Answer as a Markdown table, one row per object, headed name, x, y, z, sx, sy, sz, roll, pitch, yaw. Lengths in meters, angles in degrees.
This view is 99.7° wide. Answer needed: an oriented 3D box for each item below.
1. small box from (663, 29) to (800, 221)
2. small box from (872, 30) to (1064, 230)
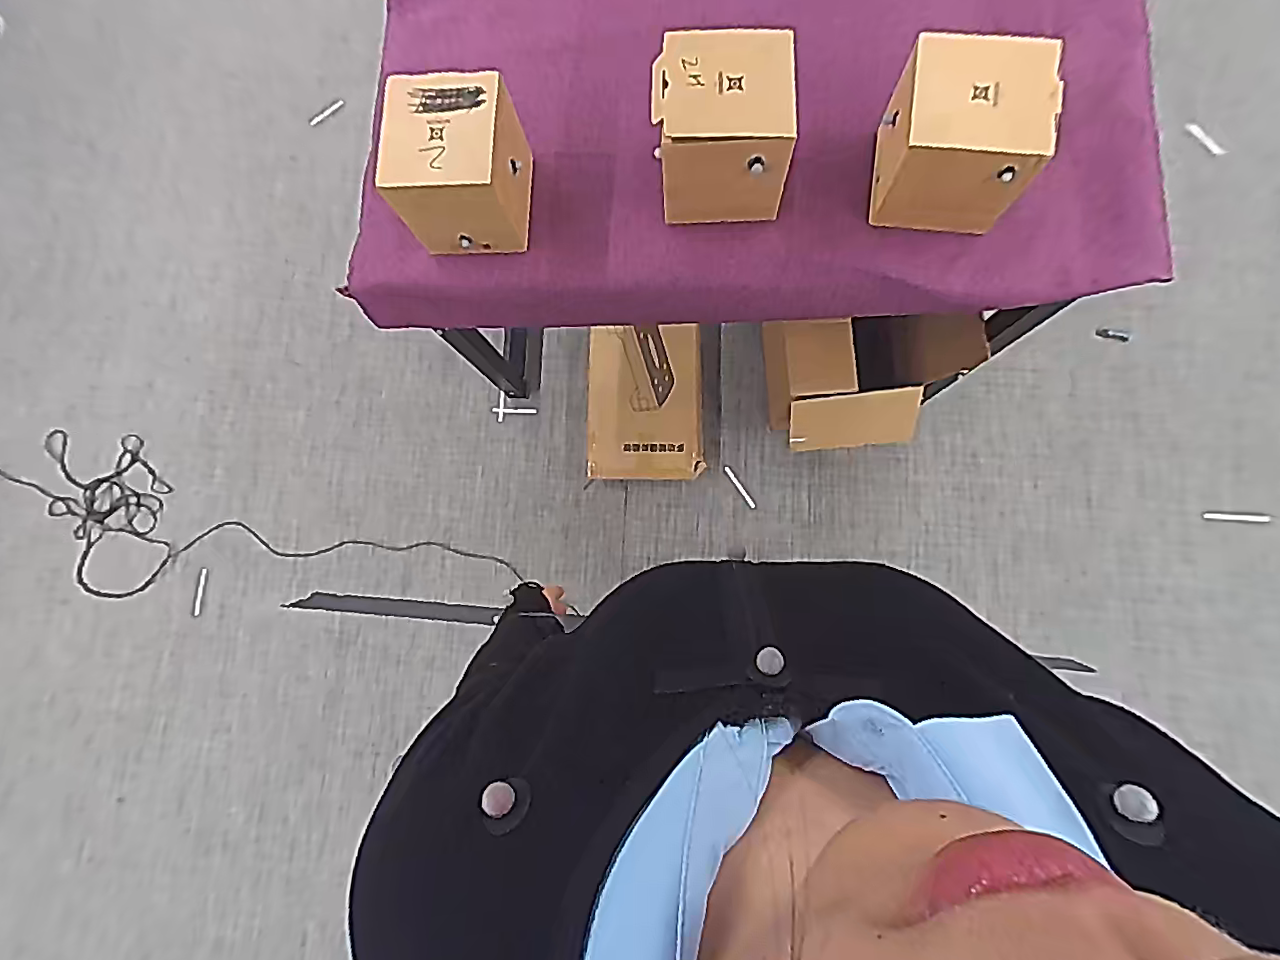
| name | x | y | z | sx | sy | sz | roll | pitch | yaw |
| --- | --- | --- | --- | --- | --- | --- | --- | --- | --- |
| small box | 0.125 | -0.501 | 0.784 | 0.179 | 0.176 | 0.168 | 0 | 79 | 5 |
| small box | 0.441 | -0.474 | 0.753 | 0.179 | 0.176 | 0.168 | 8 | 83 | 6 |
